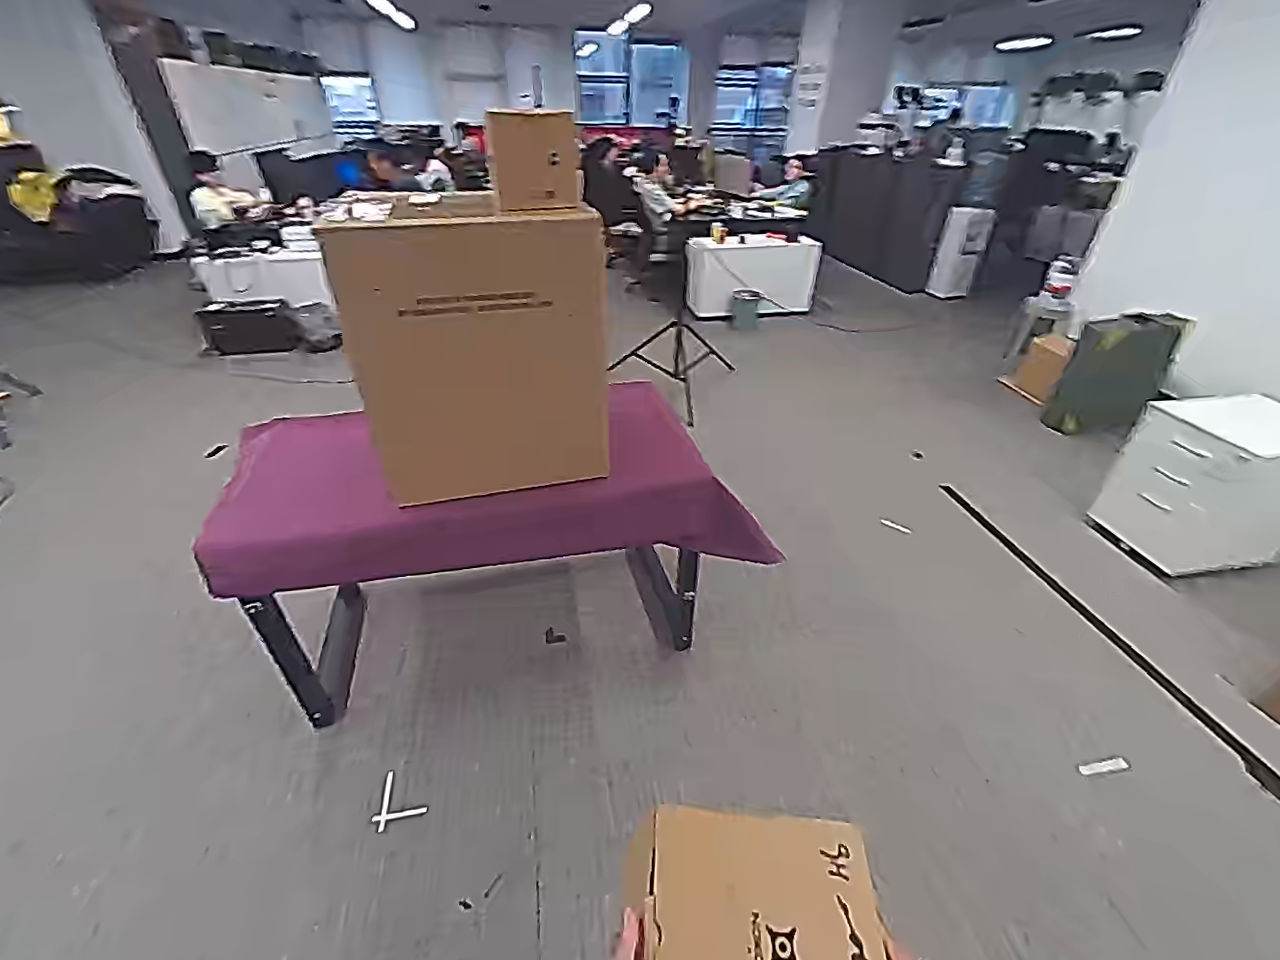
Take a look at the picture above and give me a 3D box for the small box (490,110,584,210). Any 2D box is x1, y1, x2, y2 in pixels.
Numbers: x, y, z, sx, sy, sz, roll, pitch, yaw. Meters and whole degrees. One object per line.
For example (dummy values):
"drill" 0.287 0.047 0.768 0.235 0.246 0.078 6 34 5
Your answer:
"small box" -0.213 -0.663 1.122 0.168 0.176 0.179 -8 36 -14
